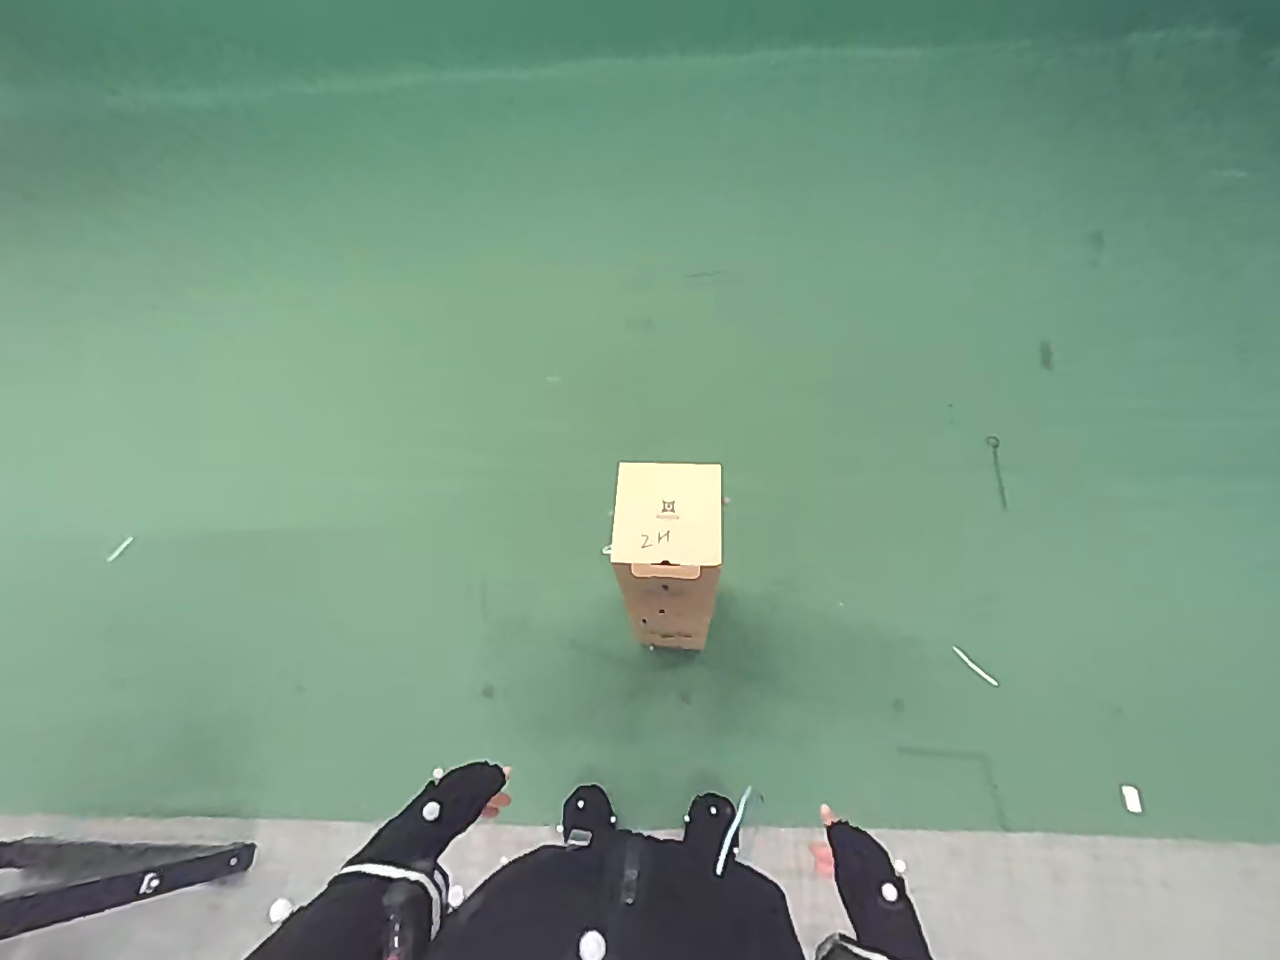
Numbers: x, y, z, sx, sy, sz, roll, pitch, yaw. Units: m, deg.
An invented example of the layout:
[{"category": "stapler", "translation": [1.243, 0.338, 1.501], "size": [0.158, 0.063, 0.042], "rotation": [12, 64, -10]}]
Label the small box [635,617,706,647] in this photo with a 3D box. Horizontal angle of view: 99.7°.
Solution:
[{"category": "small box", "translation": [0.080, 0.314, 1.339], "size": [0.168, 0.176, 0.179], "rotation": [0, 65, 4]}]

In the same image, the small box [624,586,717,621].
[{"category": "small box", "translation": [0.061, 0.163, 1.049], "size": [0.168, 0.176, 0.179], "rotation": [1, 63, 4]}]

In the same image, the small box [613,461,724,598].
[{"category": "small box", "translation": [0.050, 0.086, 0.903], "size": [0.168, 0.176, 0.179], "rotation": [2, 63, 5]}]
